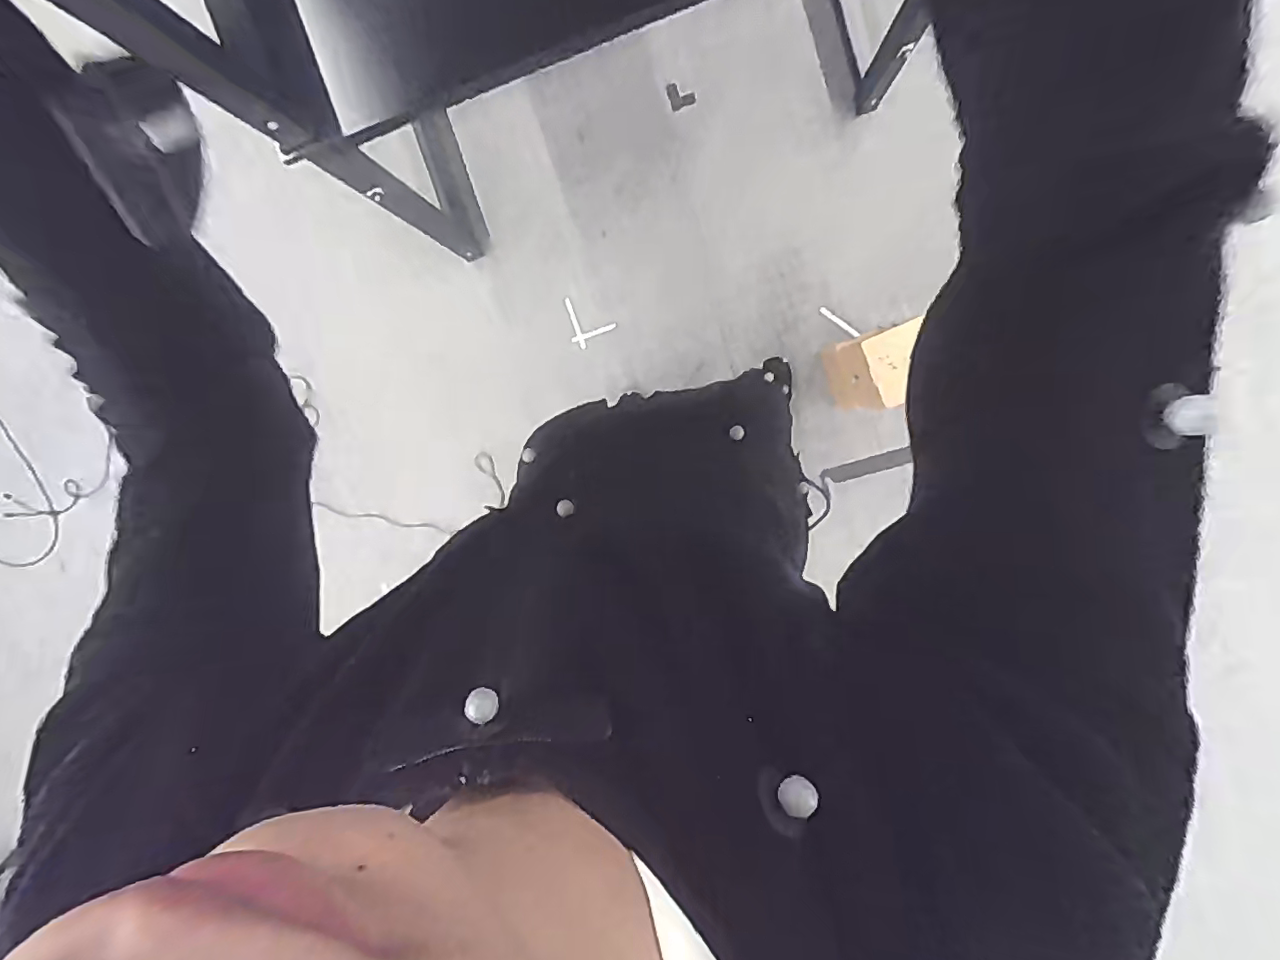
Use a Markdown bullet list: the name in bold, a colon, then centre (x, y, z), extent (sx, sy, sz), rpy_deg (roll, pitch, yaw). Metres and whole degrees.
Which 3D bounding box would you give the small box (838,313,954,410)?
- **small box**: centre (0.600, -0.279, 1.287), extent (0.179, 0.176, 0.168), rpy_deg (-22, 97, 8)
